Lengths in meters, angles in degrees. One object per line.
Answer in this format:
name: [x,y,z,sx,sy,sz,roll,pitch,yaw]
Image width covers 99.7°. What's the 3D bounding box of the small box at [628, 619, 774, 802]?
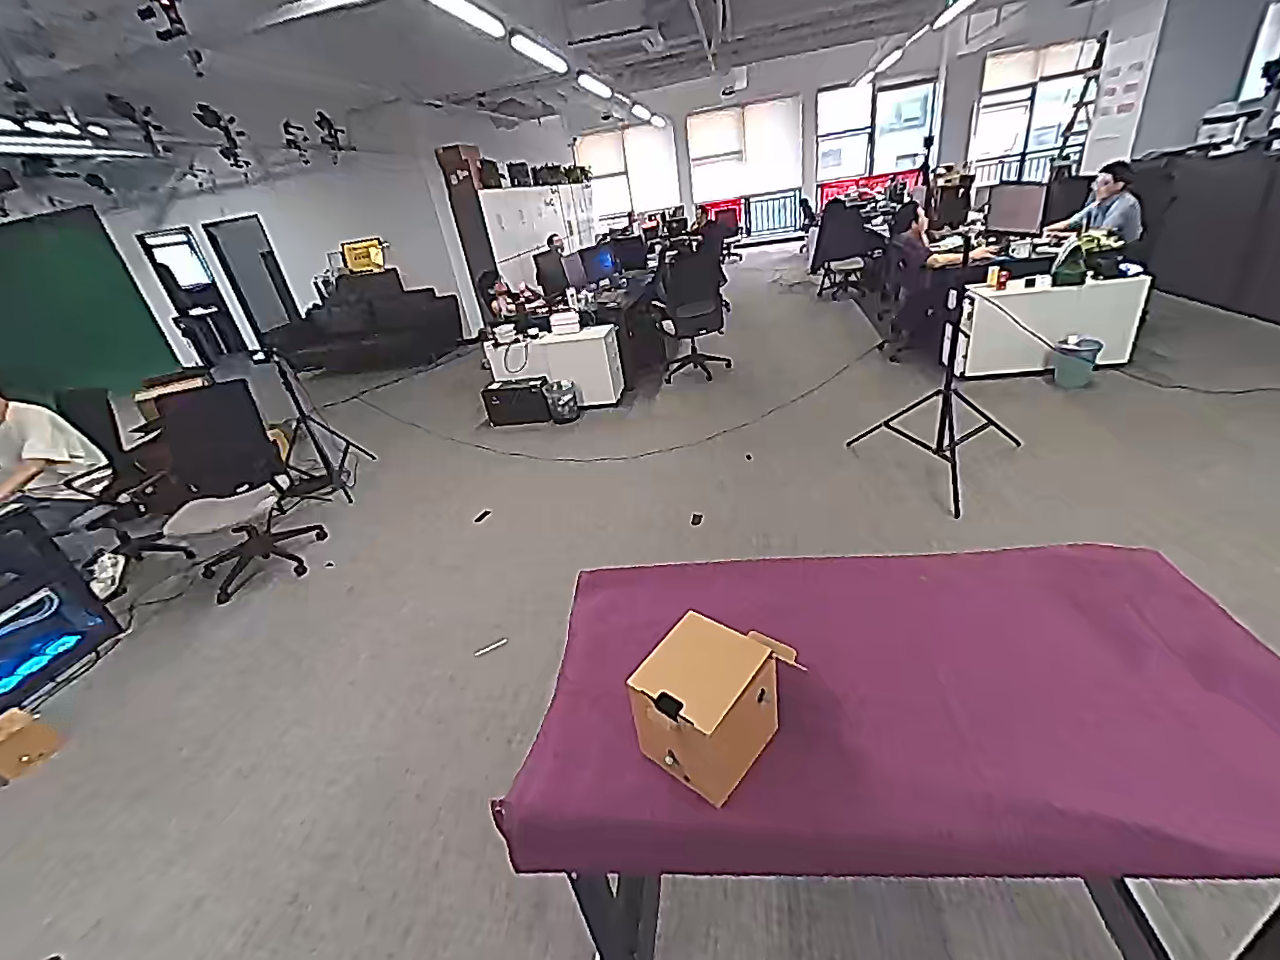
small box: [0.104,0.369,0.884,0.168,0.176,0.179,16,36,41]
